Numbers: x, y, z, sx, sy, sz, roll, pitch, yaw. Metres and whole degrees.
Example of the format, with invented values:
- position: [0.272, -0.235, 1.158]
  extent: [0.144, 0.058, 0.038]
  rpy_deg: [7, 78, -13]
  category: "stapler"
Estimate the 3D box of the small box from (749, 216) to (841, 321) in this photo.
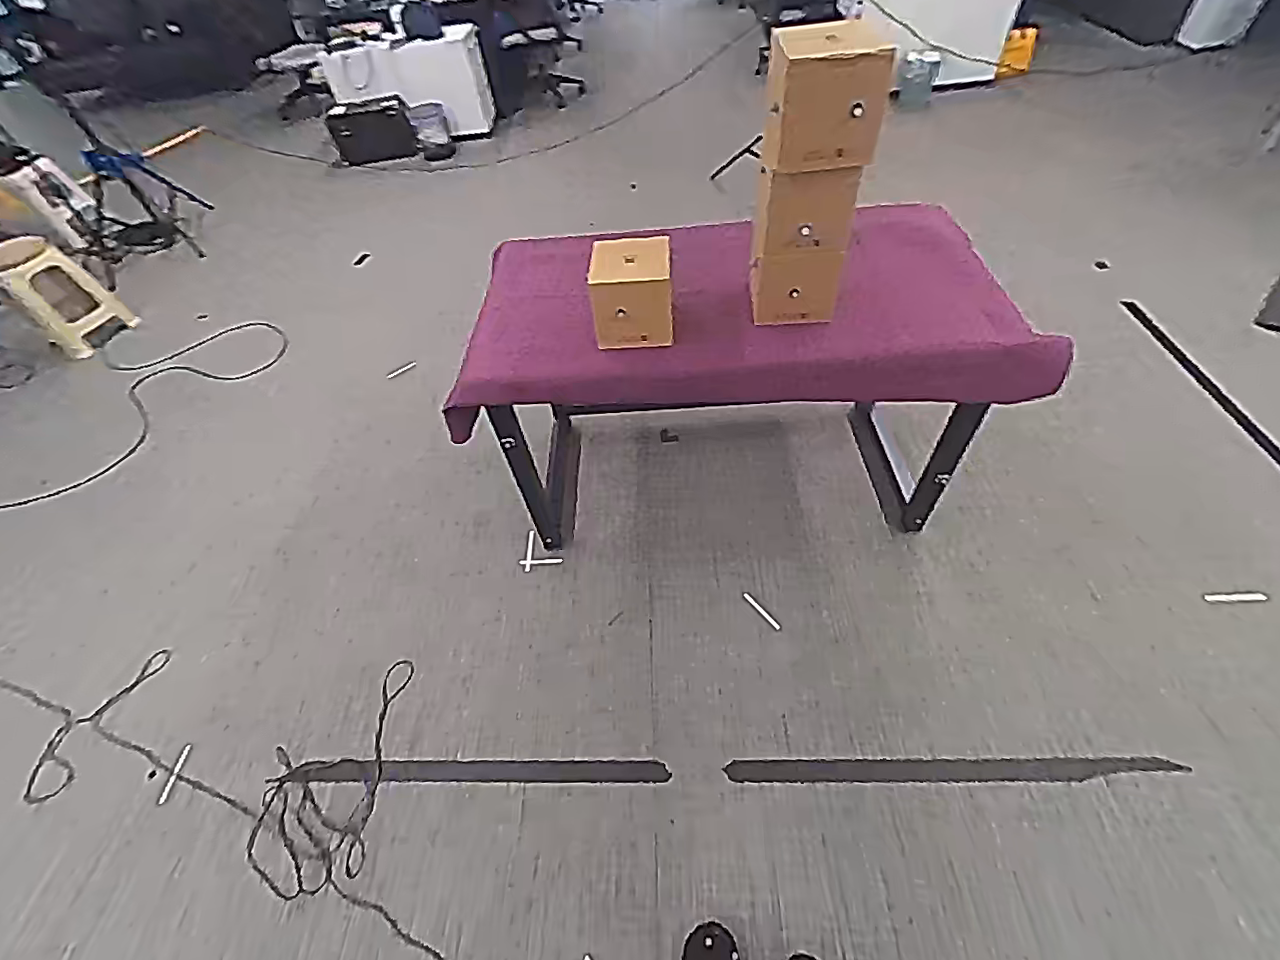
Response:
- position: [0.333, -0.467, 1.195]
  extent: [0.168, 0.176, 0.179]
  rpy_deg: [-1, 51, 5]
  category: "small box"

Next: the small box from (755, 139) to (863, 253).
- position: [0.322, -0.572, 1.070]
  extent: [0.168, 0.176, 0.179]
  rpy_deg: [-1, 52, 6]
  category: "small box"

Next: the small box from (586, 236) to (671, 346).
- position: [-0.018, -0.410, 1.191]
  extent: [0.168, 0.176, 0.179]
  rpy_deg: [-2, 50, 4]
  category: "small box"

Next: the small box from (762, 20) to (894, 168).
- position: [0.309, -0.655, 0.929]
  extent: [0.168, 0.176, 0.179]
  rpy_deg: [-3, 51, 3]
  category: "small box"
